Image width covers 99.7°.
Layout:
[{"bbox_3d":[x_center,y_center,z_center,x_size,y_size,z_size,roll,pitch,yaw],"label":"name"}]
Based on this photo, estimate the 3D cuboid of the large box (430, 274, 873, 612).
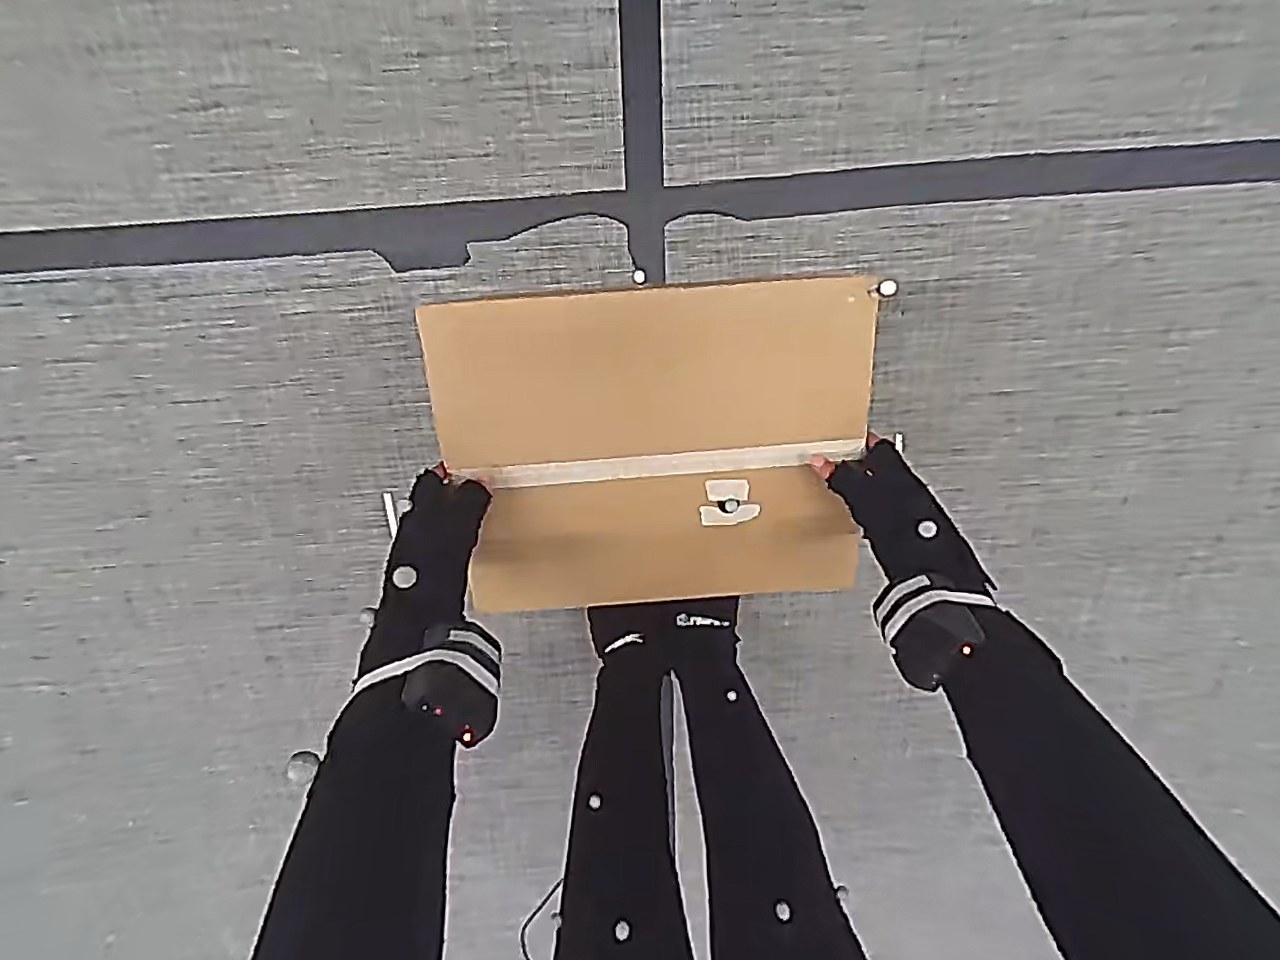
[{"bbox_3d":[0.014,-0.070,0.667,0.408,0.320,0.320,-5,111,-2],"label":"large box"}]
